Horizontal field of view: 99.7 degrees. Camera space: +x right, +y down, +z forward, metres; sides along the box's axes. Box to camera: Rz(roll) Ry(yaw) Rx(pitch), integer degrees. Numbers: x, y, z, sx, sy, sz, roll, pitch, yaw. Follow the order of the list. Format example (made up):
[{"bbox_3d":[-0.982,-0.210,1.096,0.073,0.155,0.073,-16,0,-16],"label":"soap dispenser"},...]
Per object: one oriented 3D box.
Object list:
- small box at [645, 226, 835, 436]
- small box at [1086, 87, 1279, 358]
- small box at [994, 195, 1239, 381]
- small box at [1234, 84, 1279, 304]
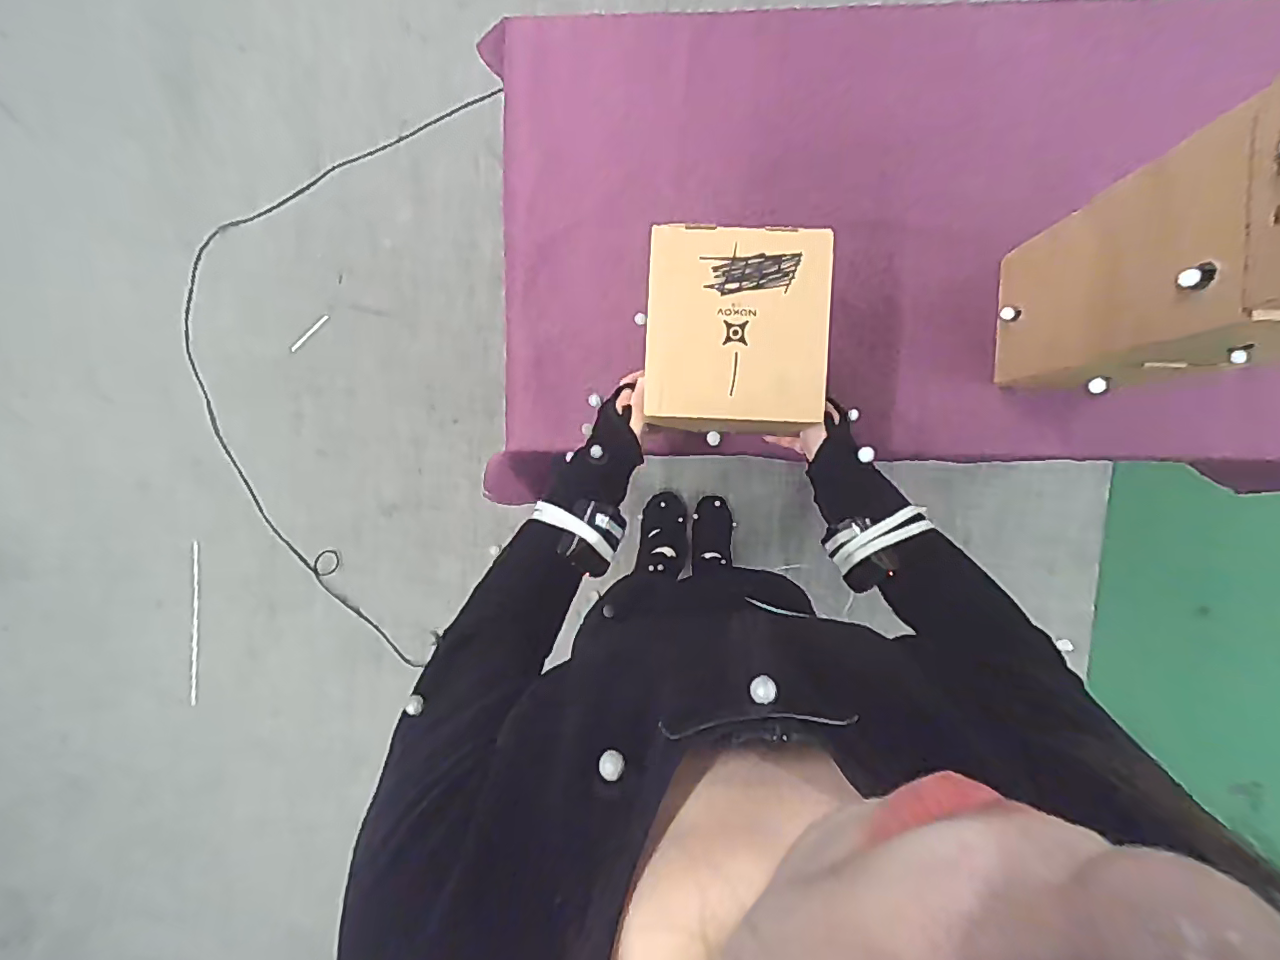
[{"bbox_3d":[0.093,-0.141,0.567,0.168,0.176,0.179,3,92,3],"label":"small box"},{"bbox_3d":[0.549,-0.210,0.486,0.168,0.176,0.179,2,92,2],"label":"small box"},{"bbox_3d":[0.560,-0.216,0.651,0.168,0.176,0.179,2,93,2],"label":"small box"},{"bbox_3d":[0.537,-0.209,0.323,0.179,0.176,0.168,2,91,4],"label":"small box"}]
